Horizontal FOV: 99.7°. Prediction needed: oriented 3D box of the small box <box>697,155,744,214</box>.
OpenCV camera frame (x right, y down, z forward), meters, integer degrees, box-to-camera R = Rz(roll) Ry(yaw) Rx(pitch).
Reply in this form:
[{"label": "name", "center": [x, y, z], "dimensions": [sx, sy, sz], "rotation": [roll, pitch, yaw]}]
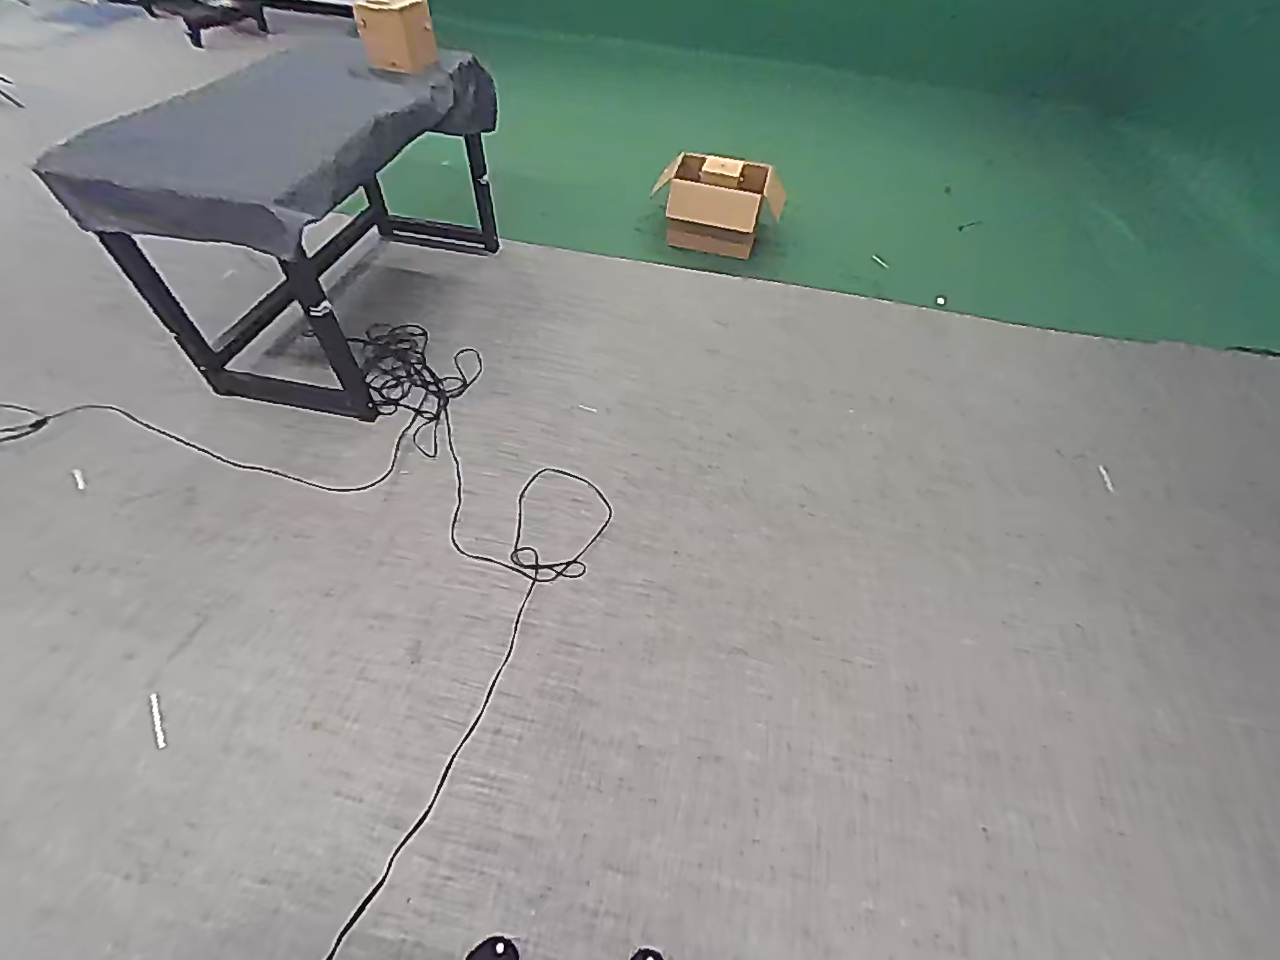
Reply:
[{"label": "small box", "center": [0.360, -1.338, 2.448], "dimensions": [0.168, 0.176, 0.179], "rotation": [15, 52, 7]}]
